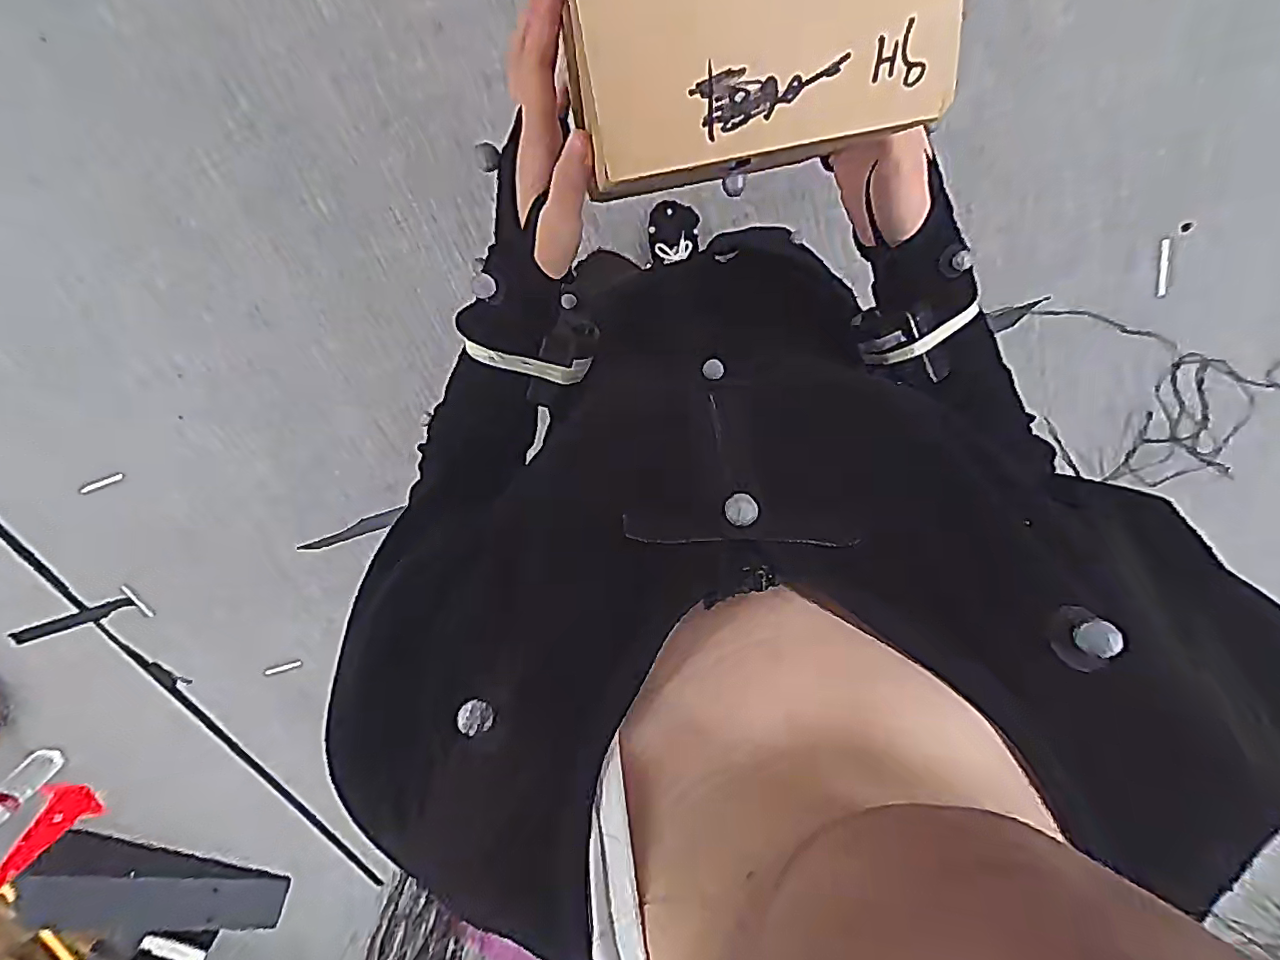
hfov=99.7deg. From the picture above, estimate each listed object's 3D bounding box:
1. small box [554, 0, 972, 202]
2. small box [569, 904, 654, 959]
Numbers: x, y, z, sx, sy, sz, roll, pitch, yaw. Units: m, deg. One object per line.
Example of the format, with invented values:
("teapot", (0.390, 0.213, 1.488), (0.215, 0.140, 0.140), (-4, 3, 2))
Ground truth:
("small box", (0.041, -0.259, 0.278), (0.168, 0.176, 0.179), (-12, 115, -1))
("small box", (-0.061, 1.129, 1.256), (0.168, 0.176, 0.179), (-13, 116, 6))
